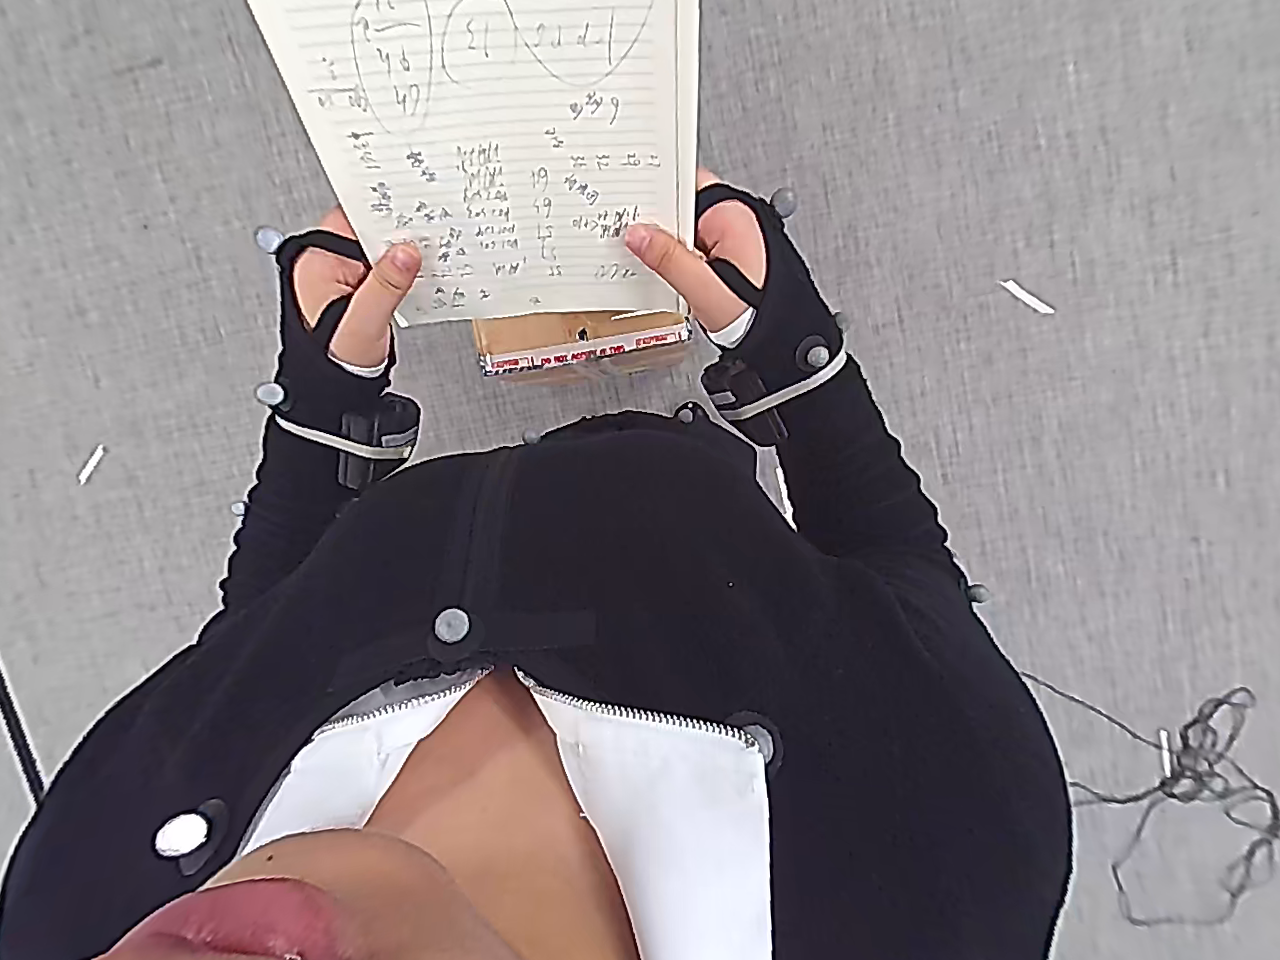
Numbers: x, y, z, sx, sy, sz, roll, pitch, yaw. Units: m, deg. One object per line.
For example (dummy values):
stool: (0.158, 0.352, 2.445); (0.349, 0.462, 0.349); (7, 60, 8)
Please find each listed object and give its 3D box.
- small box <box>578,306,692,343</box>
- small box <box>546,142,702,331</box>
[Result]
small box: (-0.023, -0.331, 0.887); (0.179, 0.176, 0.168); (-14, 97, 2)
small box: (-0.020, -0.310, 0.724); (0.168, 0.176, 0.179); (-10, 98, 1)
